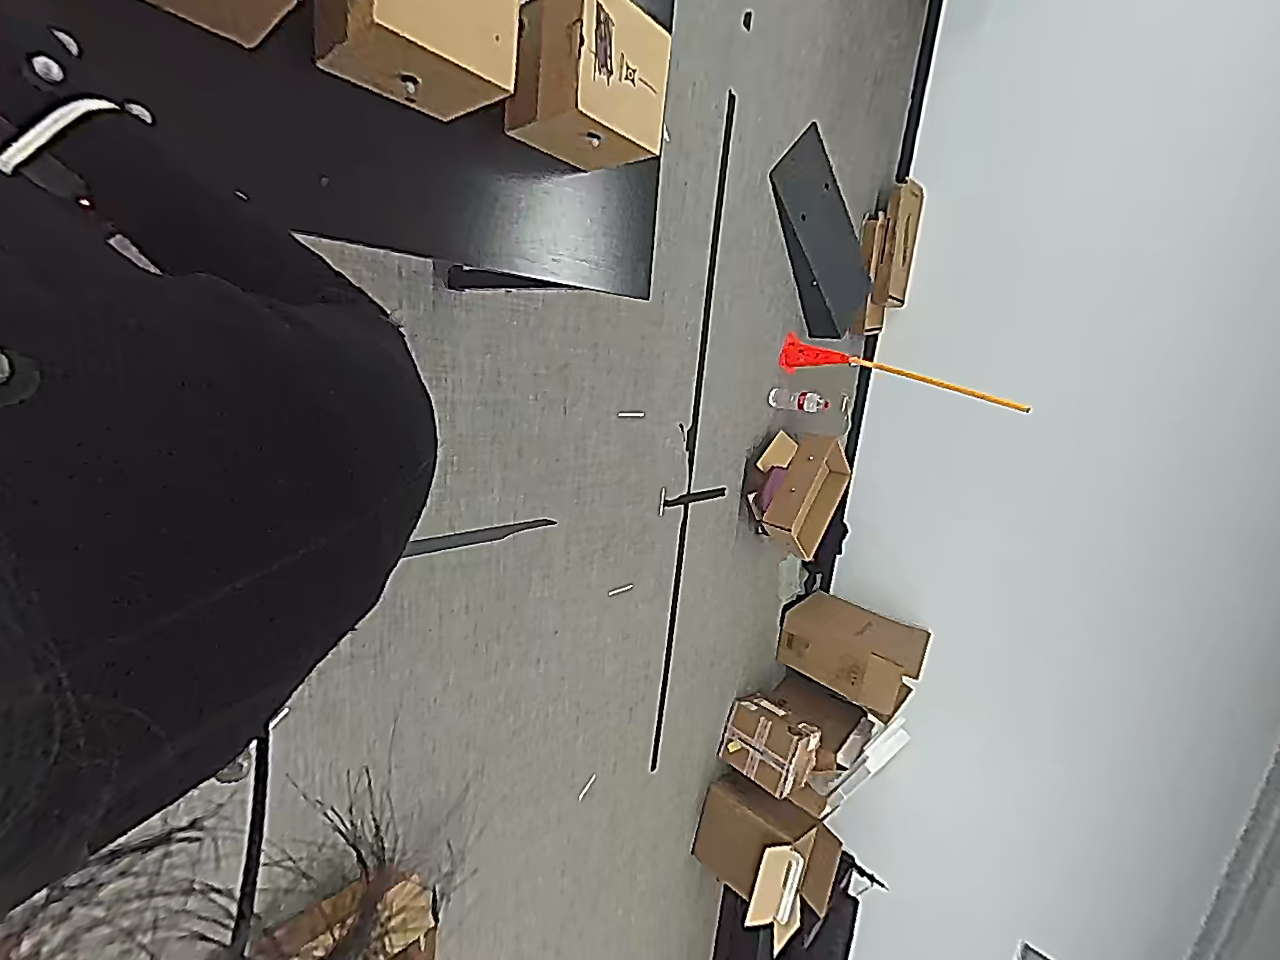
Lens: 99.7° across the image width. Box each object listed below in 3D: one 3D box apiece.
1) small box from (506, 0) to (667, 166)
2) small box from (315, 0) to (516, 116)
[{"bbox_3d":[-0.085,-0.599,0.820,0.179,0.176,0.168,-7,108,-48],"label":"small box"},{"bbox_3d":[-0.263,-0.563,0.632,0.168,0.176,0.179,-7,108,-47],"label":"small box"}]
